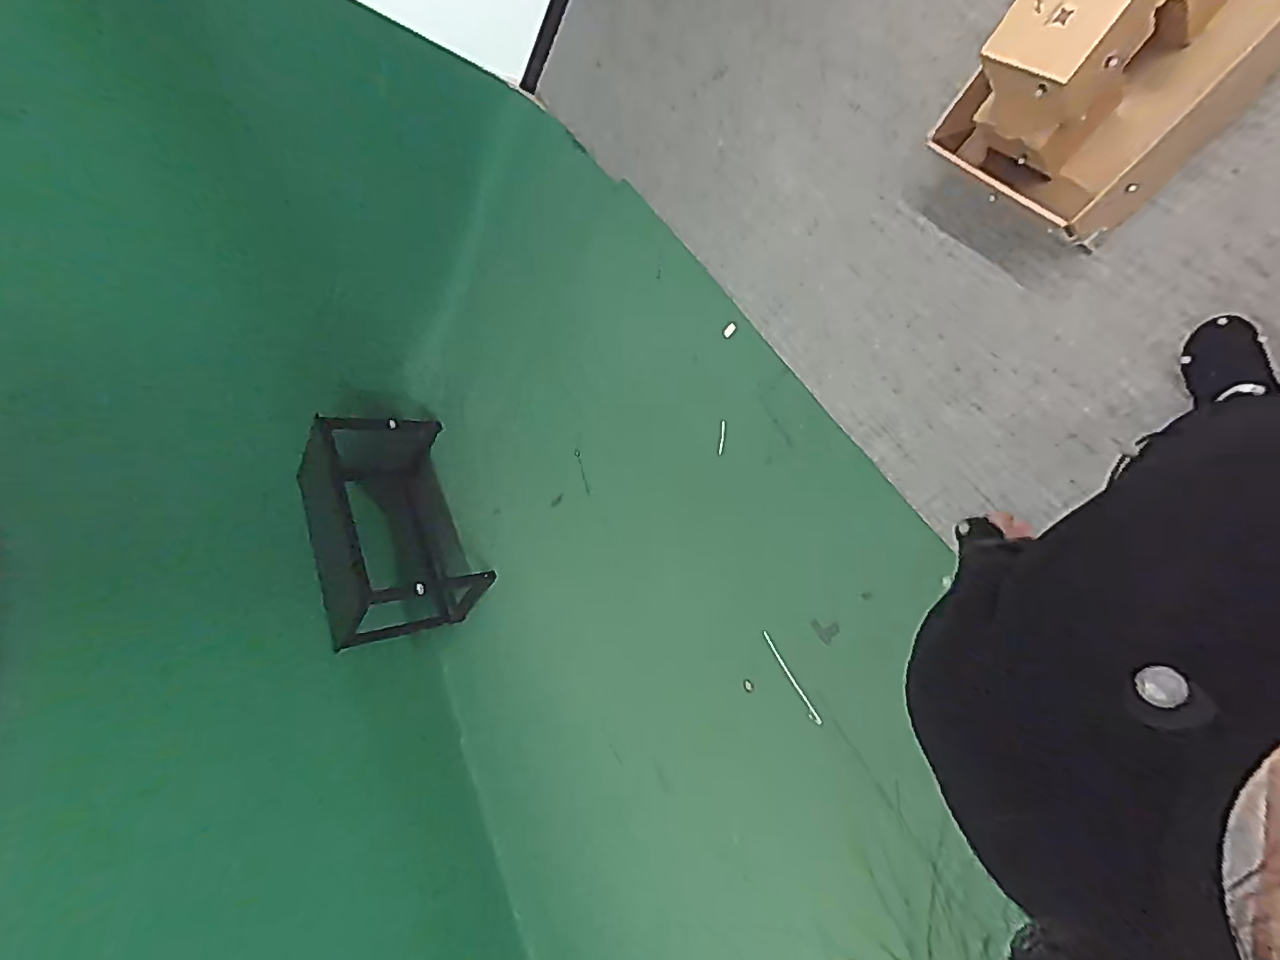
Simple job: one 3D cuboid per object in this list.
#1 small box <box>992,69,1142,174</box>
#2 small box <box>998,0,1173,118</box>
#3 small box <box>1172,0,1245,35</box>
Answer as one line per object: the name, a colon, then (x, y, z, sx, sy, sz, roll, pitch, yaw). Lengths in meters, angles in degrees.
small box: (0.880, -0.769, 1.111, 0.168, 0.176, 0.179, 53, 126, 30)
small box: (0.794, -0.785, 0.964, 0.179, 0.176, 0.168, 52, 124, 31)
small box: (1.012, -0.941, 0.959, 0.168, 0.176, 0.179, 51, 127, 32)
